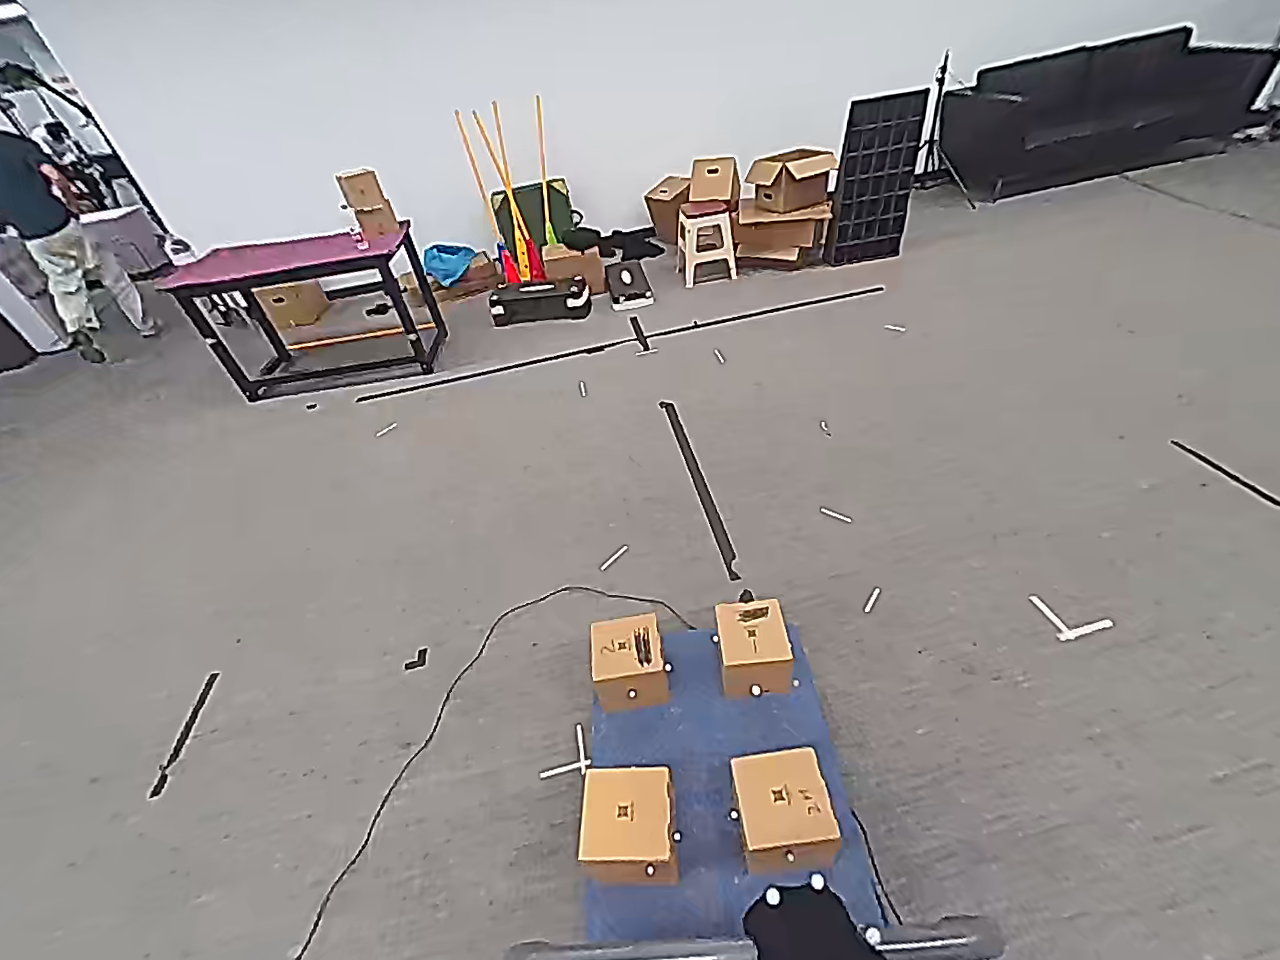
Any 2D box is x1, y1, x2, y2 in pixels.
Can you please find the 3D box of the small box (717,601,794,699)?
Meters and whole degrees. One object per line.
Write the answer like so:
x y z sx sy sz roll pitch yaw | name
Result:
0.289 0.437 1.387 0.168 0.176 0.179 -7 41 4 | small box

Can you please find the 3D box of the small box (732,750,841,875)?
0.291 0.680 1.103 0.179 0.176 0.168 -9 40 1 | small box

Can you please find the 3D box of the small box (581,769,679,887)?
-0.015 0.721 1.118 0.179 0.176 0.168 -4 40 4 | small box
